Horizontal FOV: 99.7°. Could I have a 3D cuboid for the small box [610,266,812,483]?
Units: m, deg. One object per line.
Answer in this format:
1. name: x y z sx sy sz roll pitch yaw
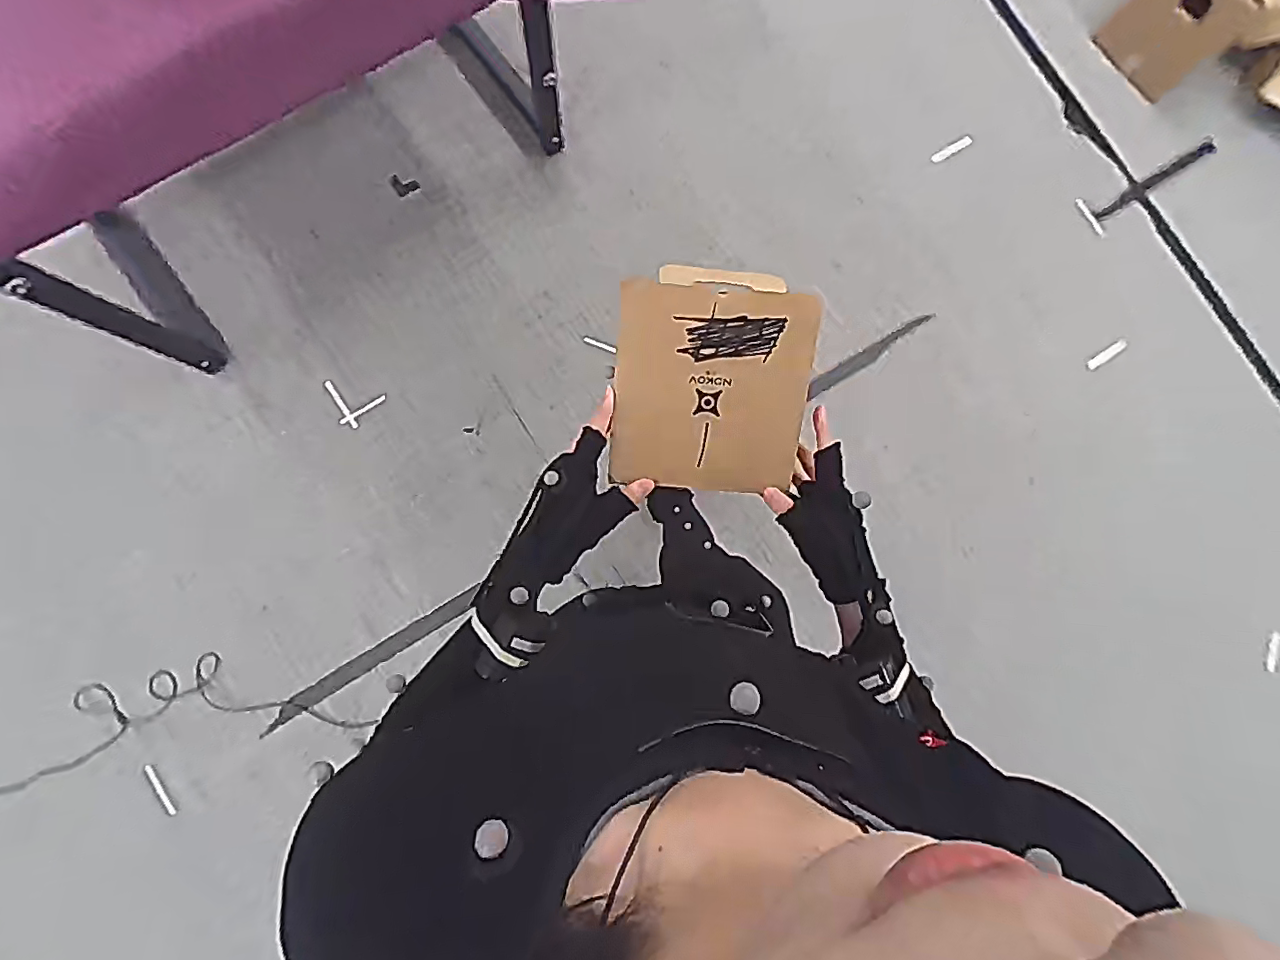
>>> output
1. small box: 0.058 -0.098 0.544 0.168 0.176 0.179 3 98 -1
